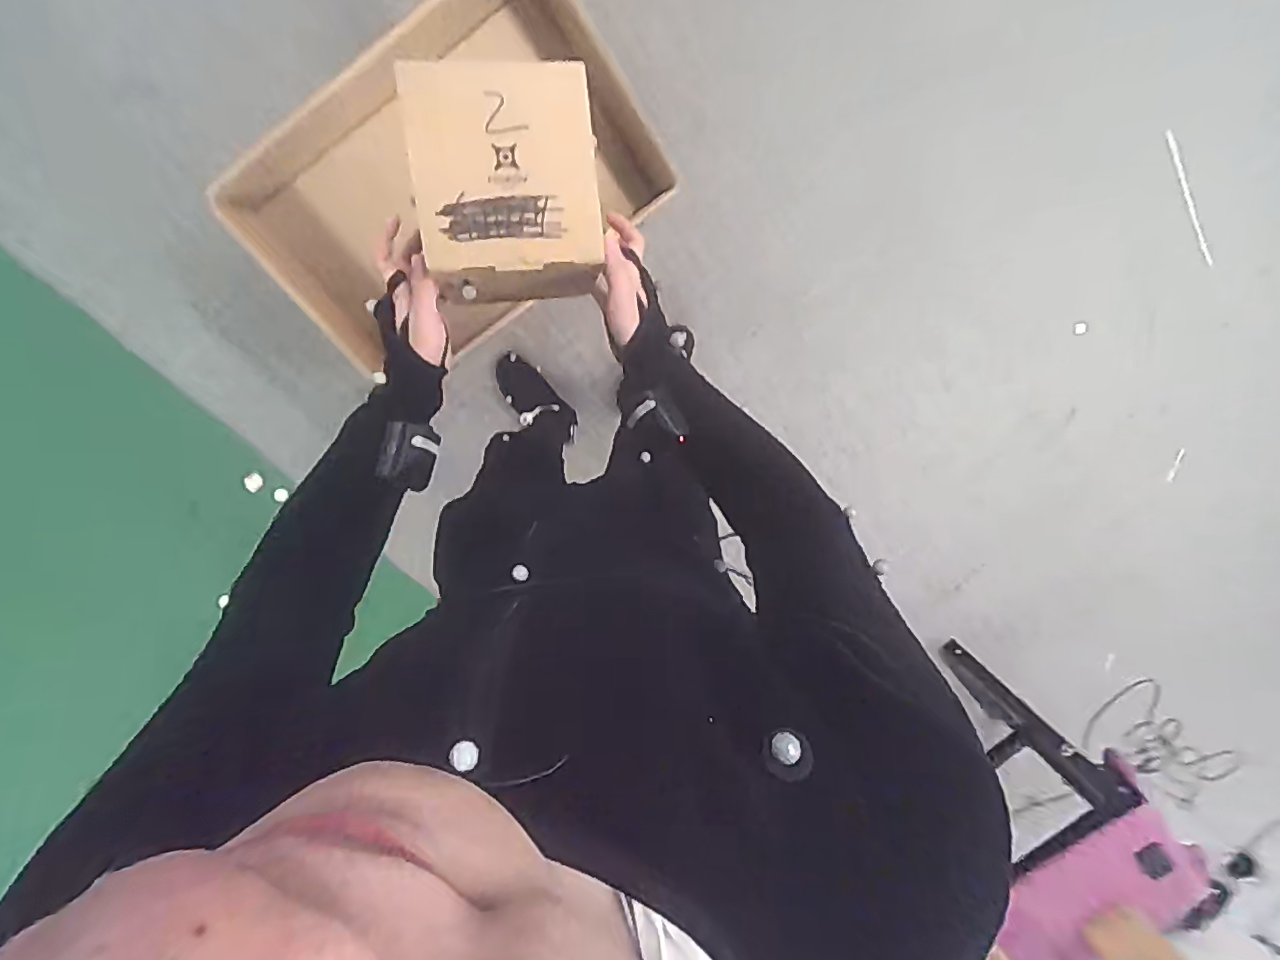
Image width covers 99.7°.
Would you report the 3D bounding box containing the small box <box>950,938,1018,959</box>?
[{"bbox_3d":[0.970,1.382,1.448,0.168,0.176,0.179,-41,112,7],"label":"small box"}]
